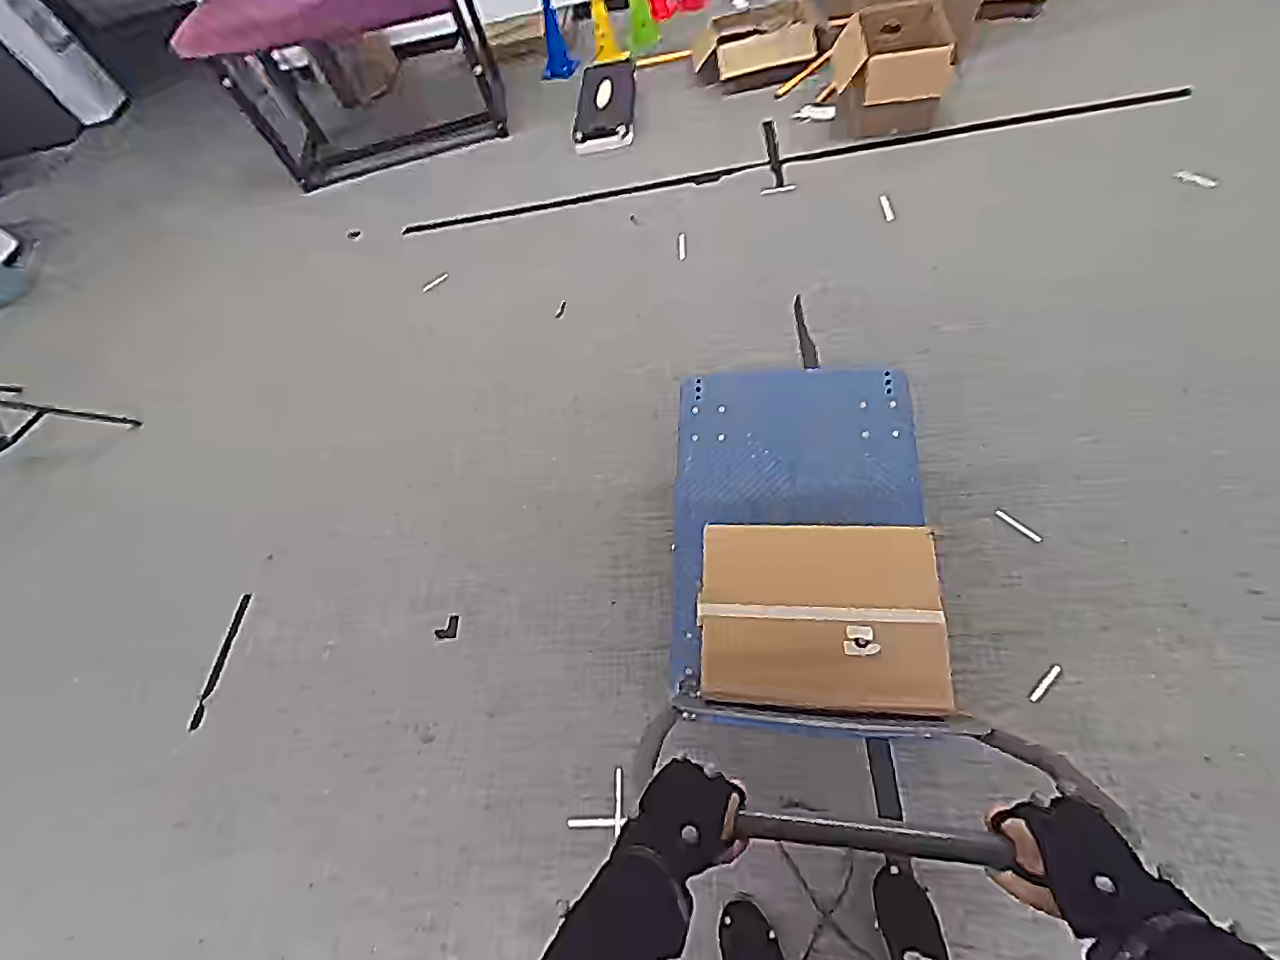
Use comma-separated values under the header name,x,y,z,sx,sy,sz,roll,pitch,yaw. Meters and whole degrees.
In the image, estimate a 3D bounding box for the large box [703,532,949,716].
name,x,y,z,sx,sy,sz,roll,pitch,yaw
large box,0.337,0.292,1.096,0.408,0.320,0.320,-1,72,10
